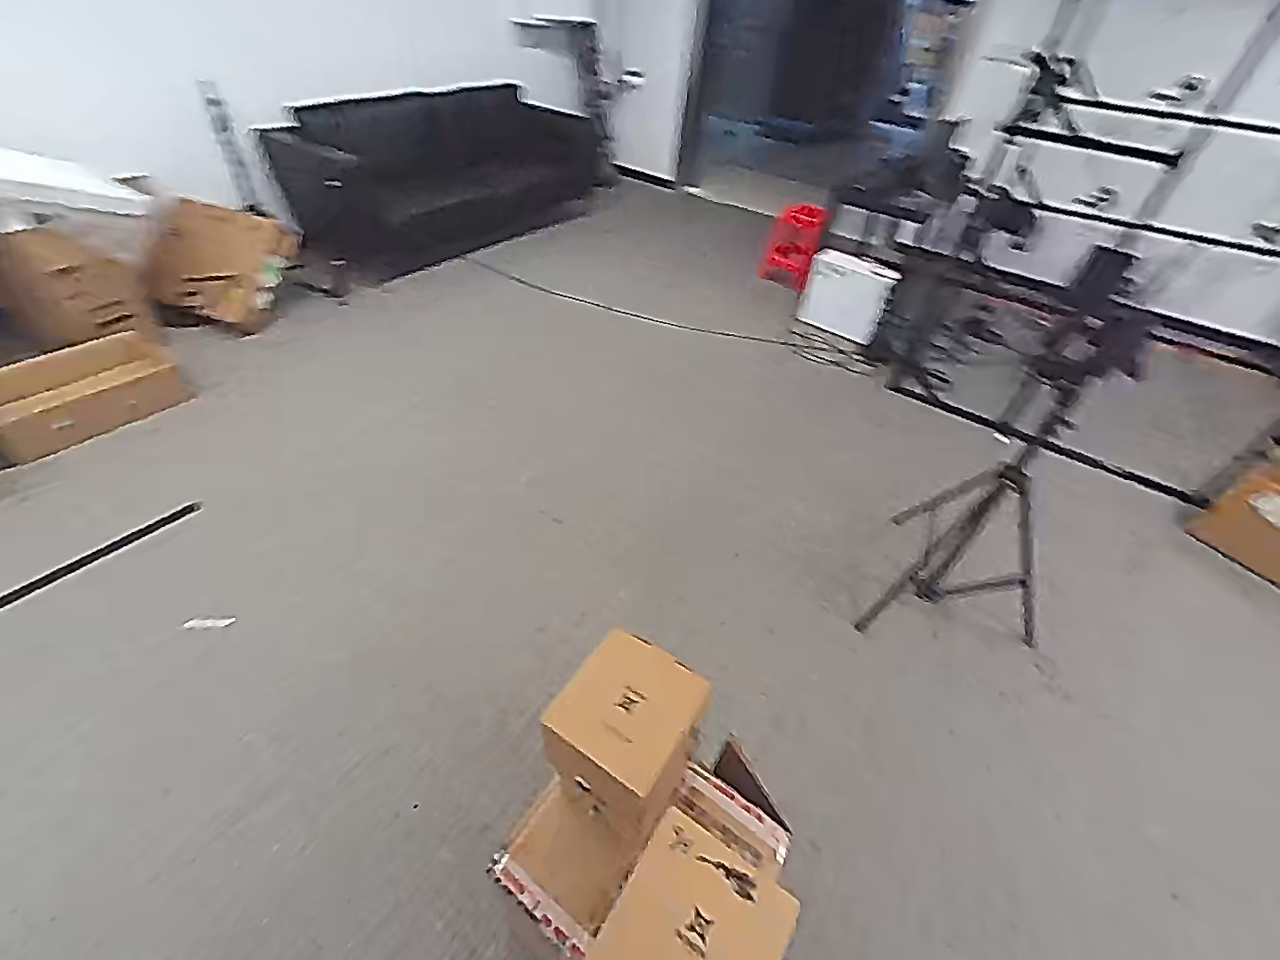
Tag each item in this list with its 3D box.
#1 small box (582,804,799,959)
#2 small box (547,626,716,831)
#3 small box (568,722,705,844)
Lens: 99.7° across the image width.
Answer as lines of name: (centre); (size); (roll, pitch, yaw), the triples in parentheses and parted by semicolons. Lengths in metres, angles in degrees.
small box: (0.052, 0.518, 0.607); (0.168, 0.176, 0.179); (28, 49, 21)
small box: (-0.013, 0.353, 0.775); (0.168, 0.176, 0.179); (26, 49, 23)
small box: (-0.014, 0.457, 0.902); (0.168, 0.176, 0.179); (27, 48, 23)
